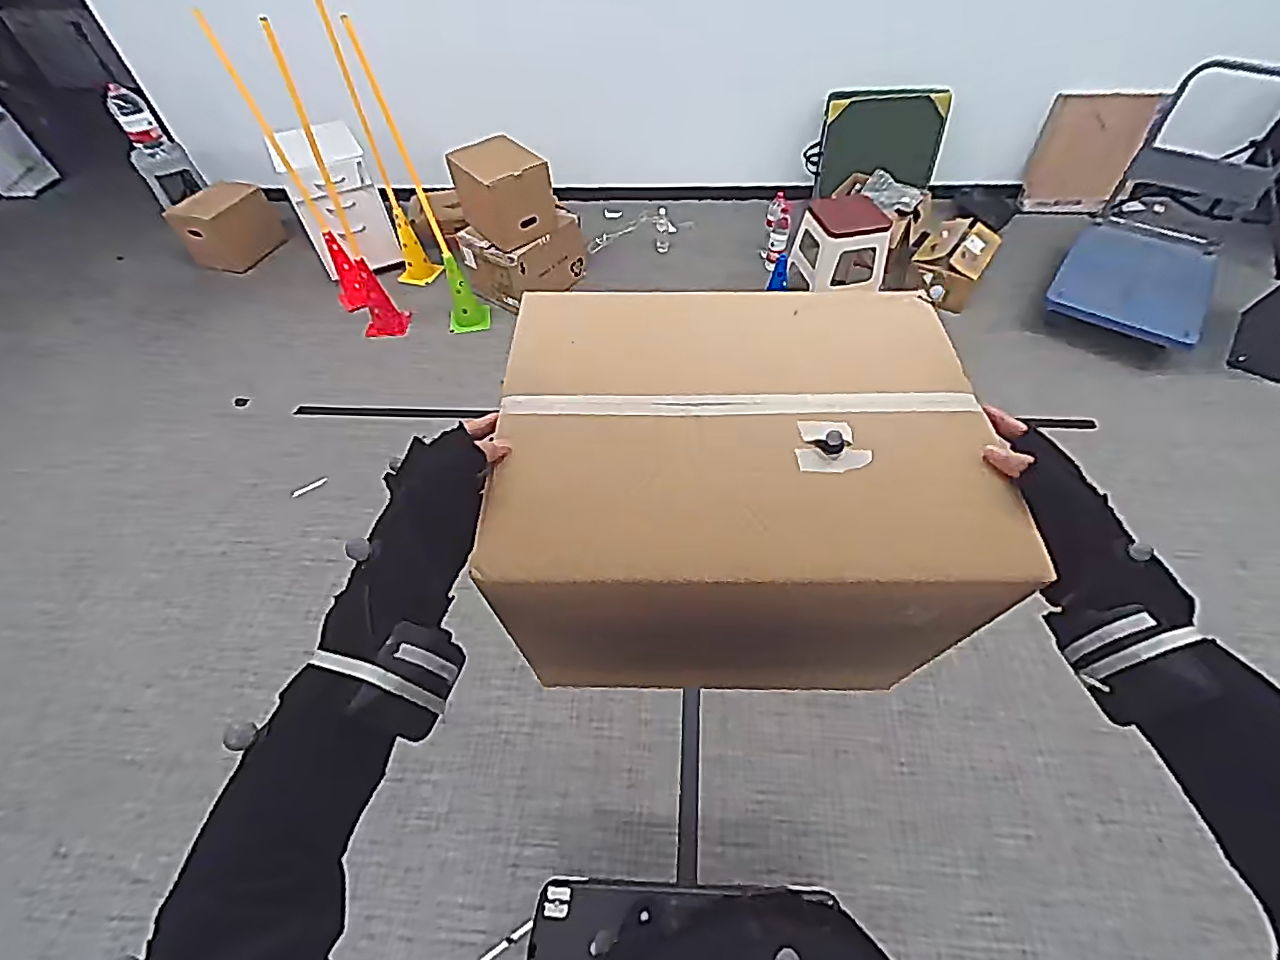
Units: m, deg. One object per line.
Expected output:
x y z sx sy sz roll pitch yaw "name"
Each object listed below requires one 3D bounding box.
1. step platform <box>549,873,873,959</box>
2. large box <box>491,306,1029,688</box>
0.146 1.034 1.169 0.684 0.204 0.286 0 52 2 "step platform"
0.084 0.031 0.597 0.408 0.320 0.320 0 57 0 "large box"
